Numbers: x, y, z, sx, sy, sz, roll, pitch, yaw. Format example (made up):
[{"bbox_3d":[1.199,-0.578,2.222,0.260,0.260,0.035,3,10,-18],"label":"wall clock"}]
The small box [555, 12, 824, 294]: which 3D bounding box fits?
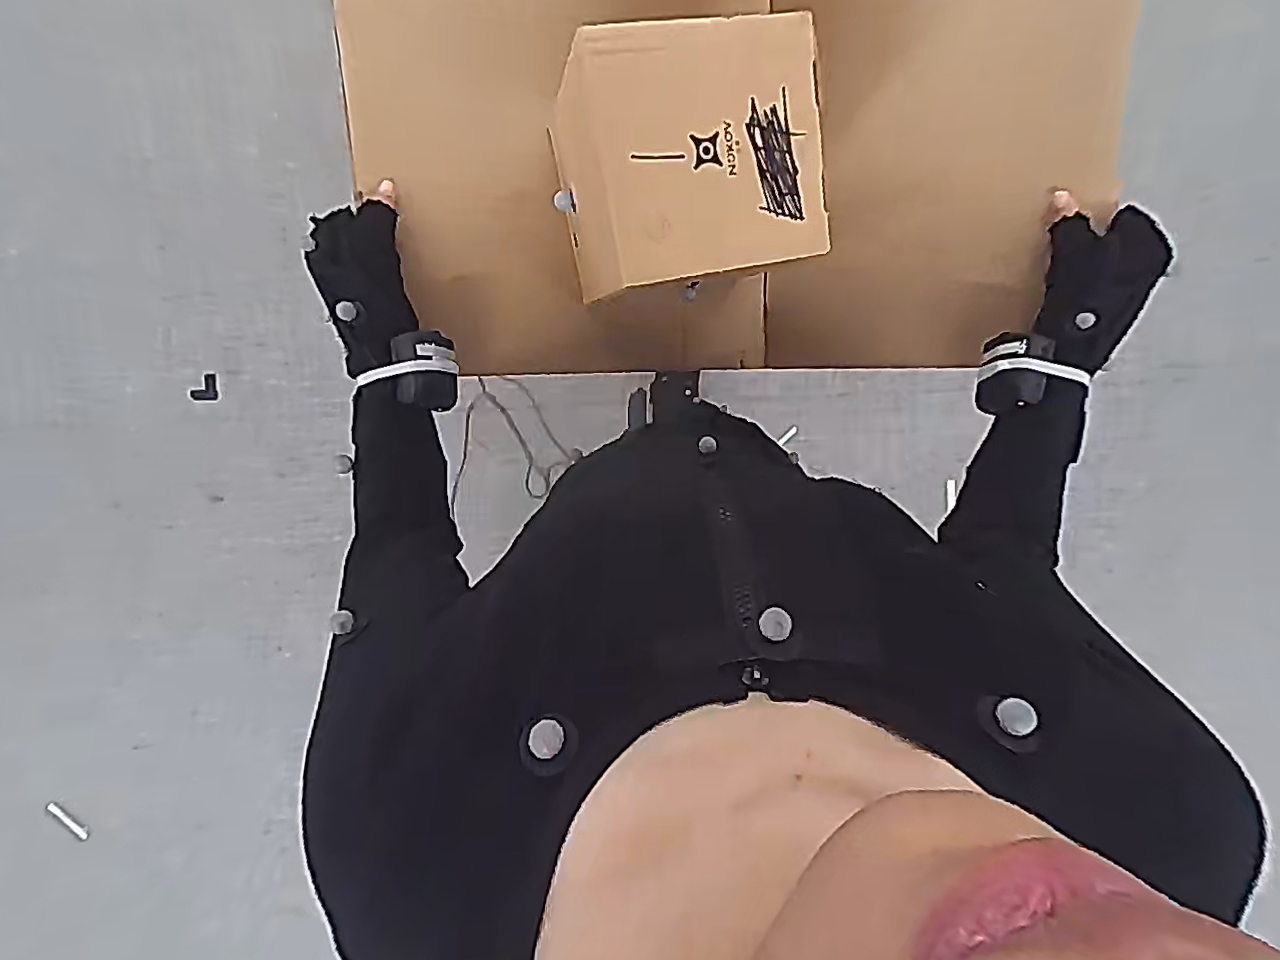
[{"bbox_3d":[0.034,-0.267,0.477,0.179,0.176,0.168,-14,106,-12],"label":"small box"}]
